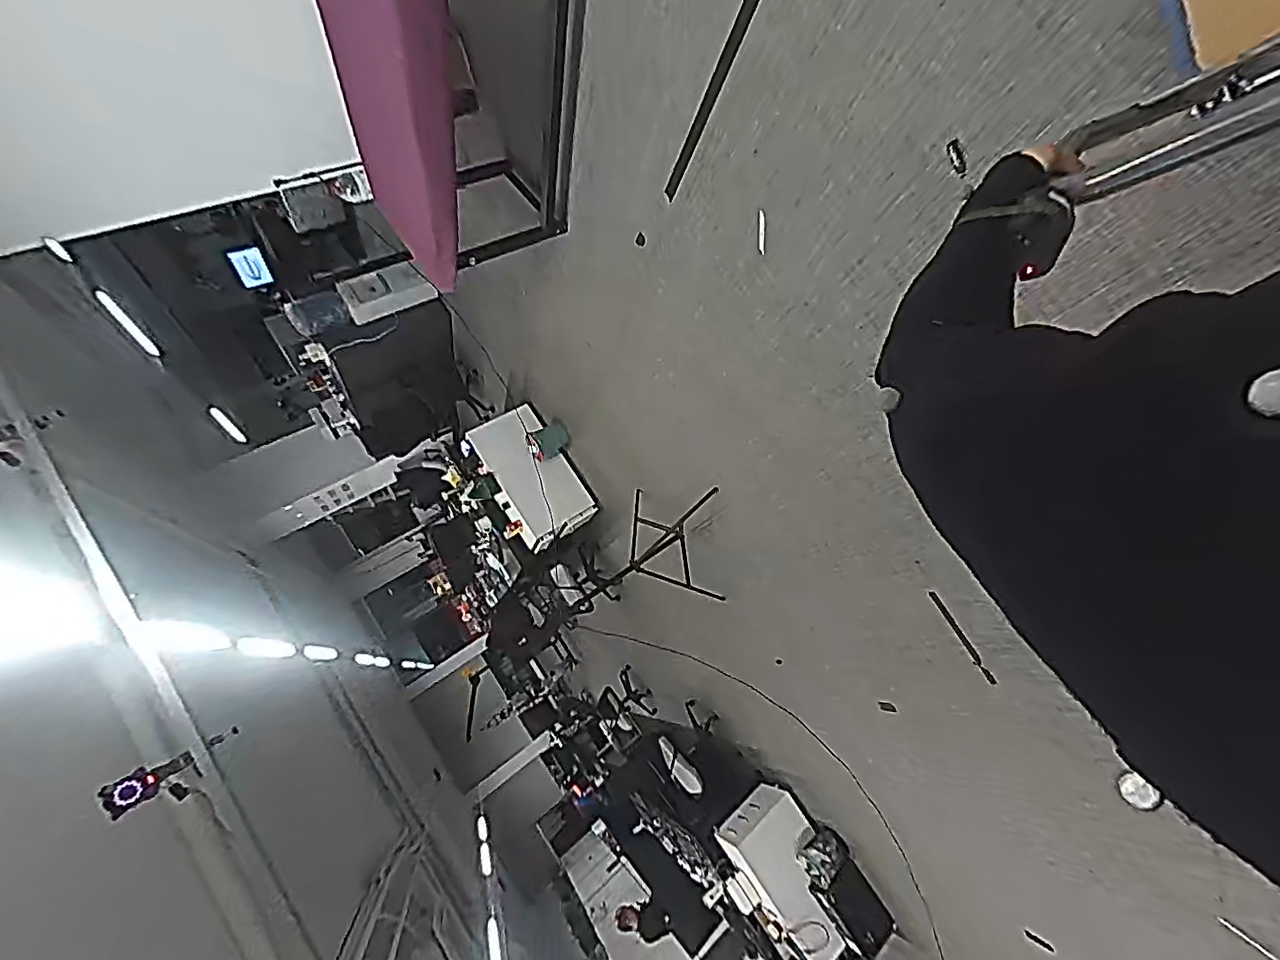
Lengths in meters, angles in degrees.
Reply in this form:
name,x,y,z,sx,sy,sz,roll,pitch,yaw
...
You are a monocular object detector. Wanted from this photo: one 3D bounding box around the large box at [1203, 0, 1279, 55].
name,x,y,z,sx,sy,sz,roll,pitch,yaw
large box,0.803,-0.697,0.486,0.408,0.320,0.320,-6,113,62
